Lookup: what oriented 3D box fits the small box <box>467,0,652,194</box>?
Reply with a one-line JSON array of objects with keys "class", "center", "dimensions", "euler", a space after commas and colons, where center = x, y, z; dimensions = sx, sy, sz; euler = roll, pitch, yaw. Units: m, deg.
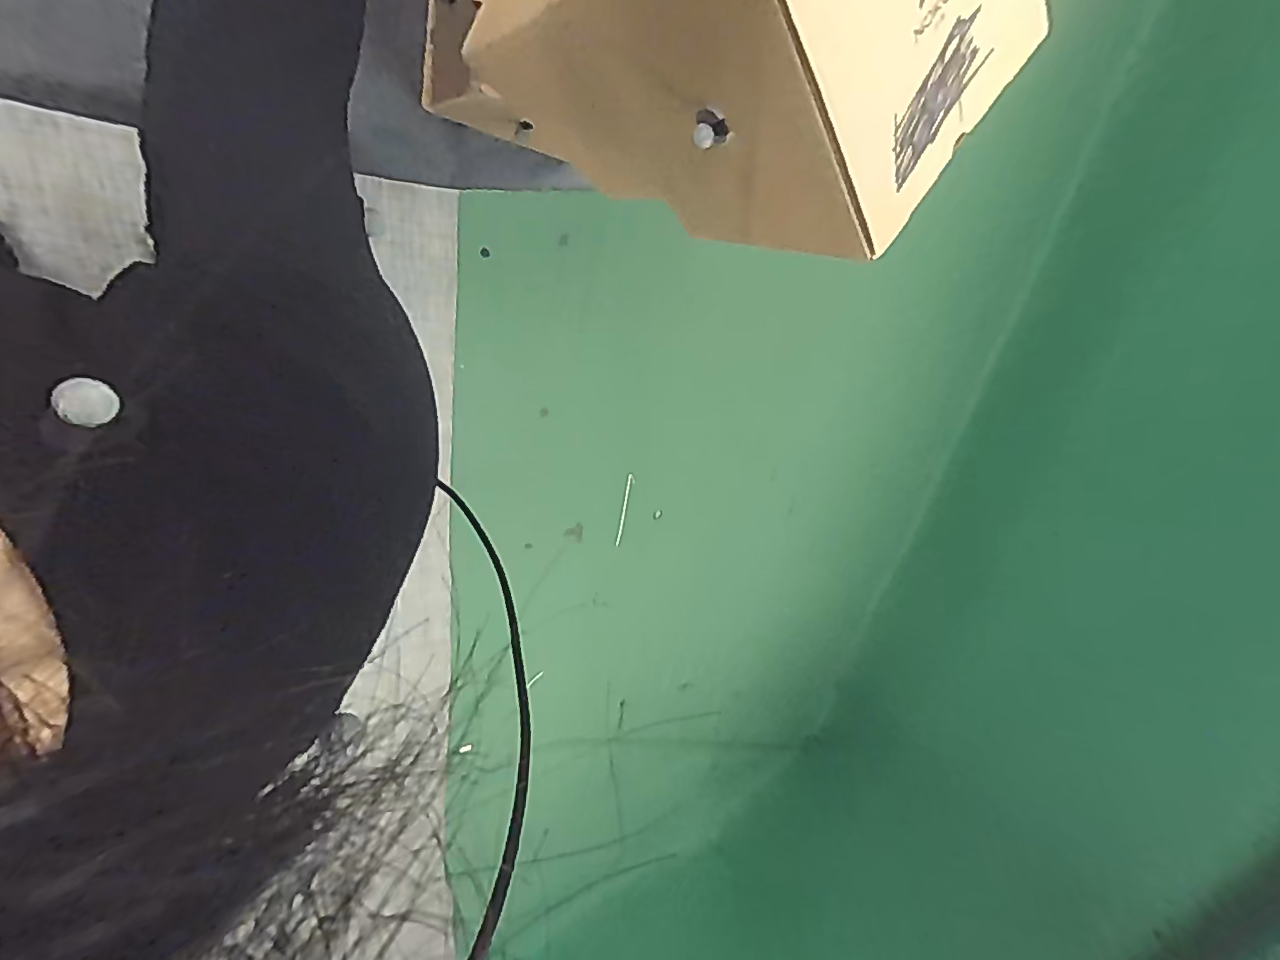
[{"class": "small box", "center": [-0.004, -0.343, 0.418], "dimensions": [0.179, 0.176, 0.168], "euler": [24, 98, -44]}]

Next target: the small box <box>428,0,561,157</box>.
[{"class": "small box", "center": [-0.093, -0.427, 0.525], "dimensions": [0.179, 0.176, 0.168], "euler": [-2, 117, -36]}]
